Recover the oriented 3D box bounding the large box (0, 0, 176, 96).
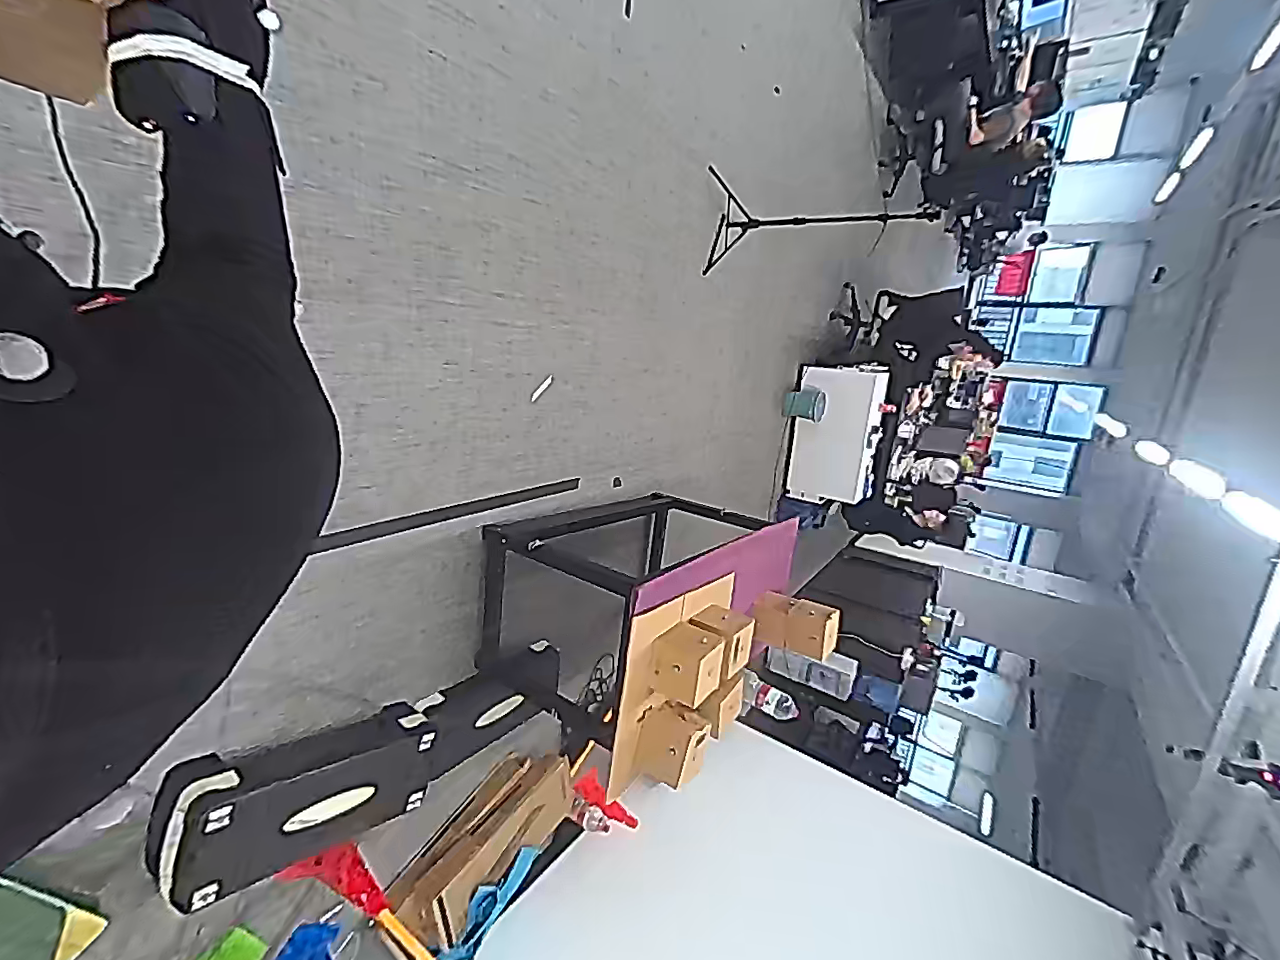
[{"bbox_3d":[-0.554,-0.483,0.284,0.408,0.320,0.320,-9,112,-53],"label":"large box"}]
